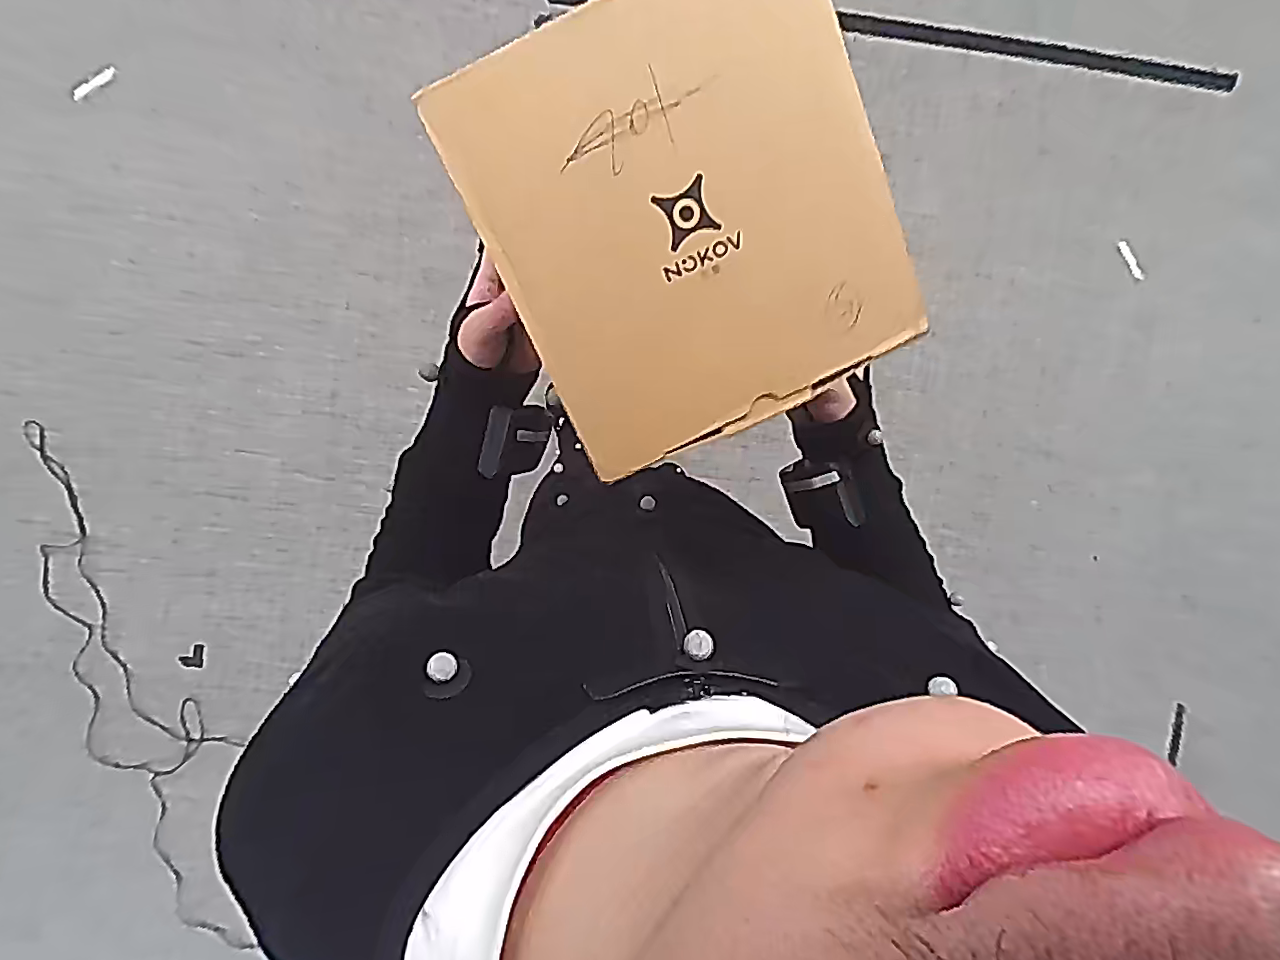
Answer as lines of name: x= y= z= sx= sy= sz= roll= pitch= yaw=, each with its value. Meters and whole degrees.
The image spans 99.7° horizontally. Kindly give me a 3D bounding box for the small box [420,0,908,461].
small box: x=0.013 y=-0.136 z=0.315 sx=0.168 sy=0.176 sz=0.179 roll=-26 pitch=103 yaw=3
